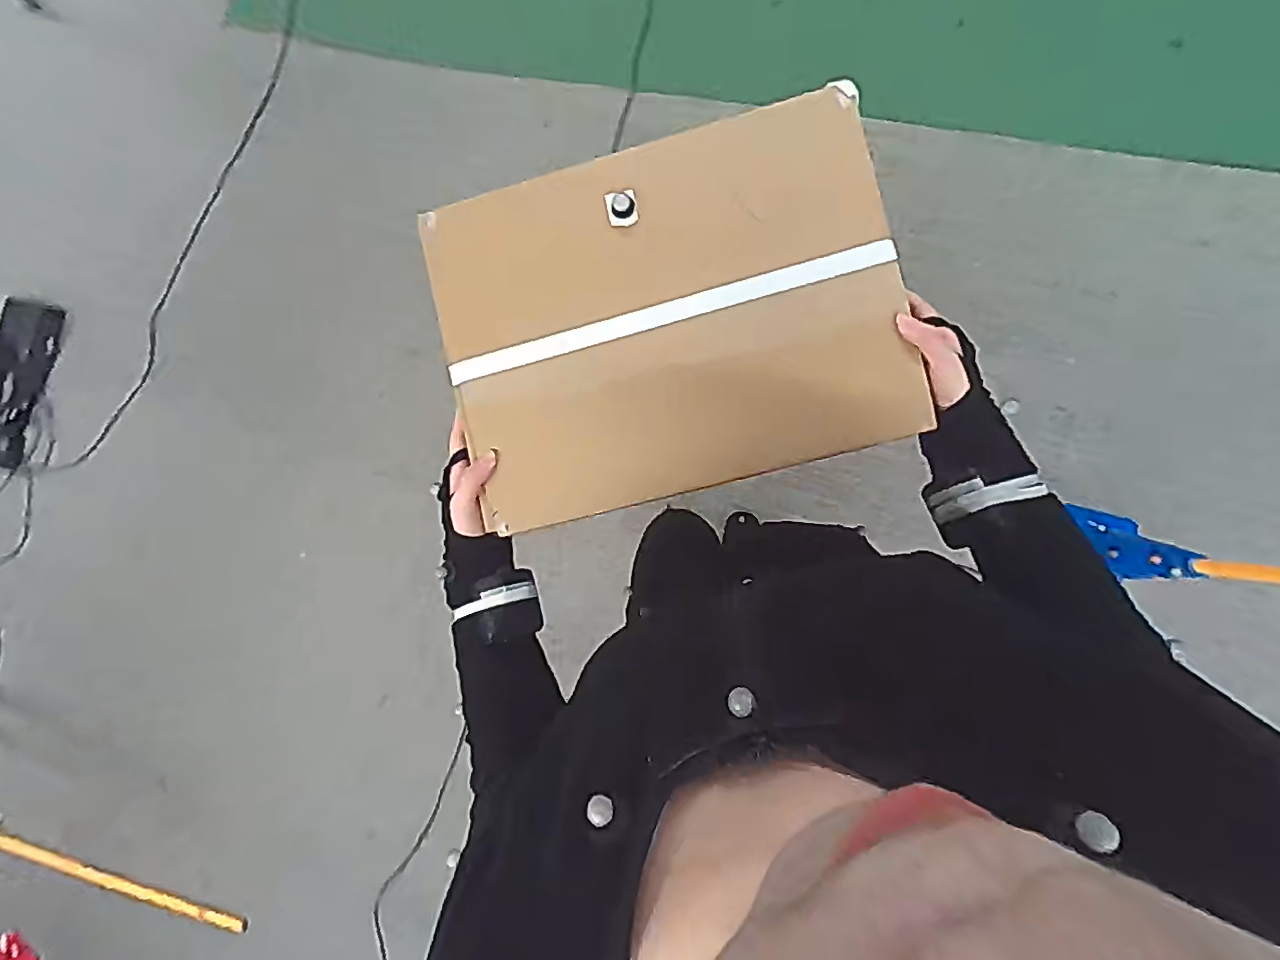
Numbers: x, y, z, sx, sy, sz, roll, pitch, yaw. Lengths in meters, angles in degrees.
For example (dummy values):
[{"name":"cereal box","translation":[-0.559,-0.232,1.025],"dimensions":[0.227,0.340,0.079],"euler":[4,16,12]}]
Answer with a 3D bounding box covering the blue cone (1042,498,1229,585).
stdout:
[{"name":"blue cone","translation":[1.047,0.141,1.129],"dimensions":[0.193,0.380,0.192],"euler":[13,91,11]}]
